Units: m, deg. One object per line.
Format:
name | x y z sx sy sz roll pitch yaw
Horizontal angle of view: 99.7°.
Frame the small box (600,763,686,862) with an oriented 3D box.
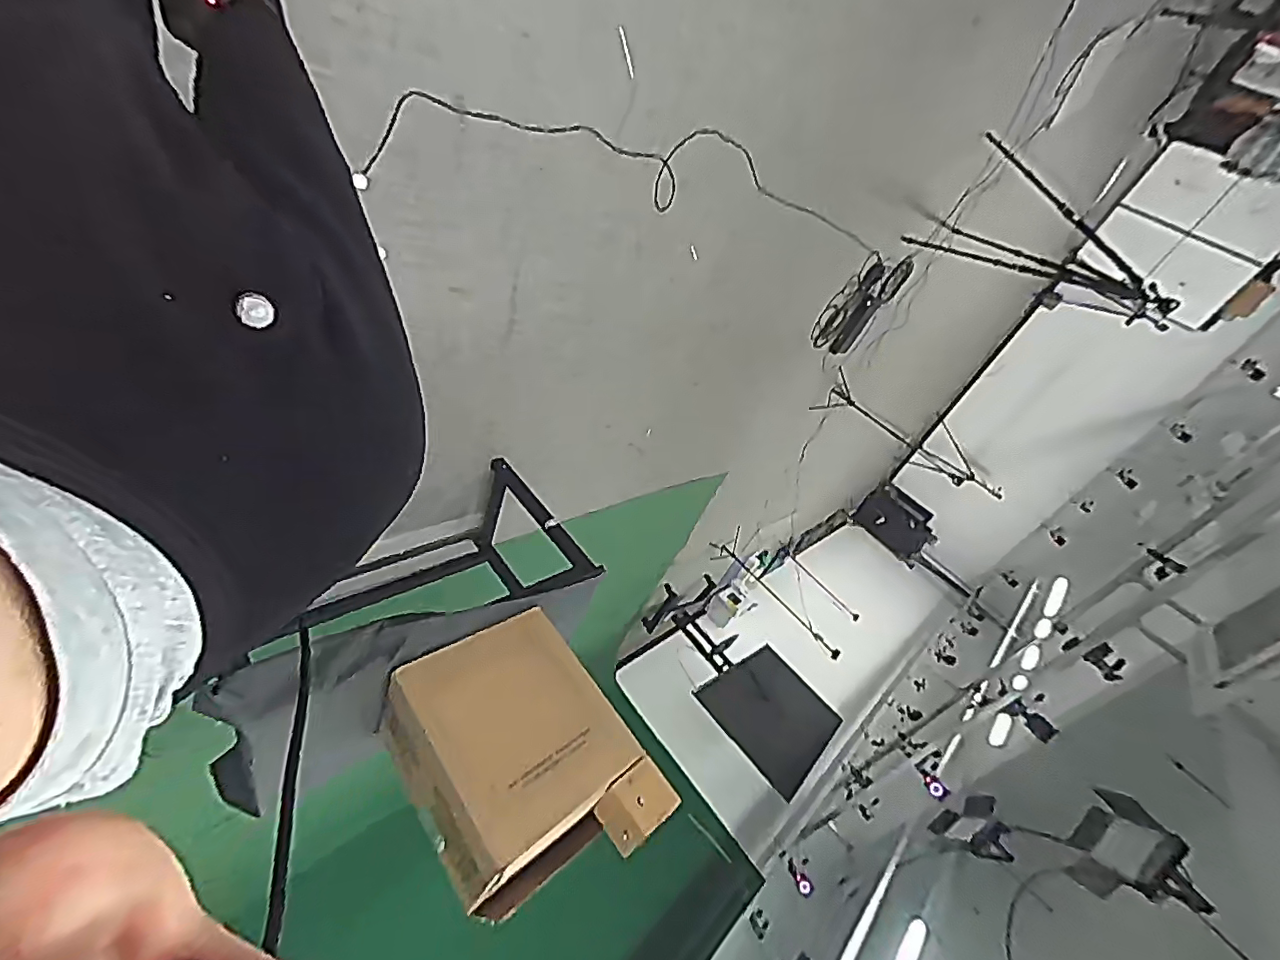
small box | 0.003 1.003 1.647 0.168 0.176 0.179 -16 143 -45
